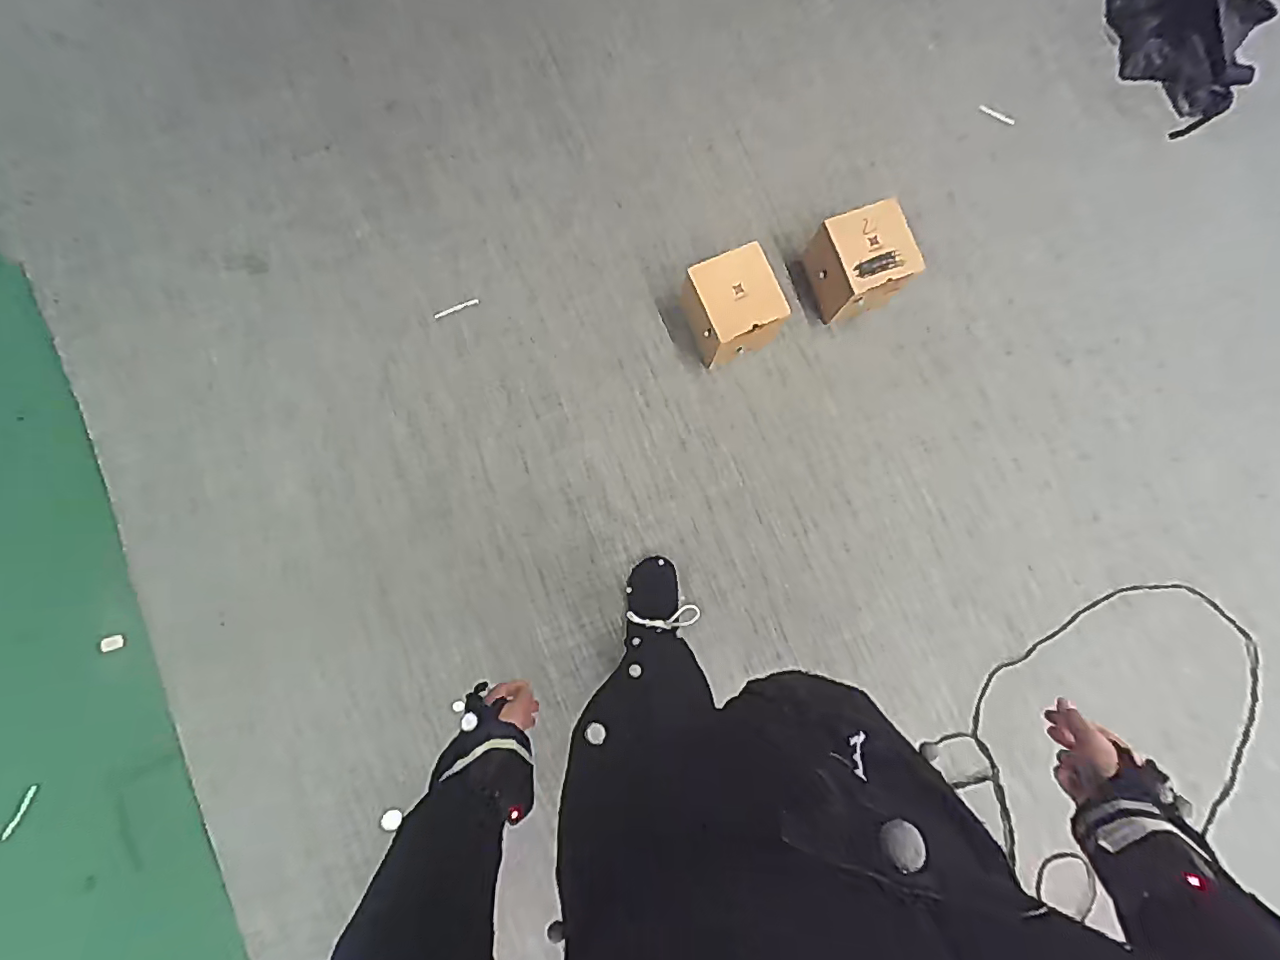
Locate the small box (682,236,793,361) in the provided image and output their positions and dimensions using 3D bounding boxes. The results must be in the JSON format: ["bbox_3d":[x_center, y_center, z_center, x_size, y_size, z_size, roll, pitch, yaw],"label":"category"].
[{"bbox_3d":[0.203,-0.389,1.183,0.168,0.176,0.179,-23,86,-4],"label":"small box"}]
